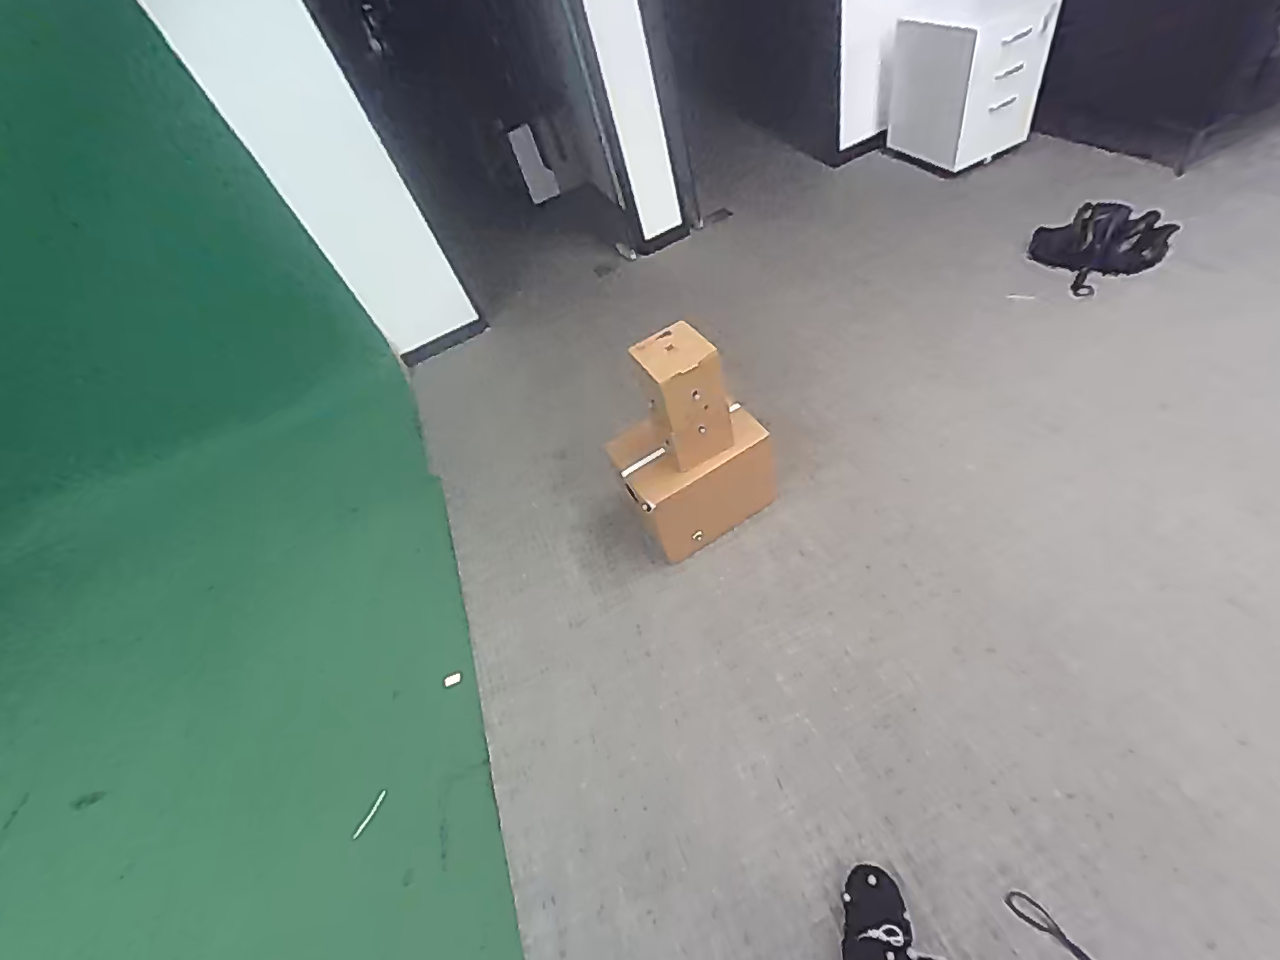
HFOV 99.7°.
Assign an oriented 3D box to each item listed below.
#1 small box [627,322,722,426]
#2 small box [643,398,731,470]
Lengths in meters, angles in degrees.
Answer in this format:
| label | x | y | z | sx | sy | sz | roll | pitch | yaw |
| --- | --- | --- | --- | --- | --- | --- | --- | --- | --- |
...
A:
| label | x | y | z | sx | sy | sz | roll | pitch | yaw |
| --- | --- | --- | --- | --- | --- | --- | --- | --- | --- |
| small box | 0.093 | -0.262 | 1.375 | 0.168 | 0.176 | 0.179 | -30 | 50 | -7 |
| small box | 0.134 | -0.158 | 1.494 | 0.179 | 0.176 | 0.168 | -28 | 50 | -7 |
